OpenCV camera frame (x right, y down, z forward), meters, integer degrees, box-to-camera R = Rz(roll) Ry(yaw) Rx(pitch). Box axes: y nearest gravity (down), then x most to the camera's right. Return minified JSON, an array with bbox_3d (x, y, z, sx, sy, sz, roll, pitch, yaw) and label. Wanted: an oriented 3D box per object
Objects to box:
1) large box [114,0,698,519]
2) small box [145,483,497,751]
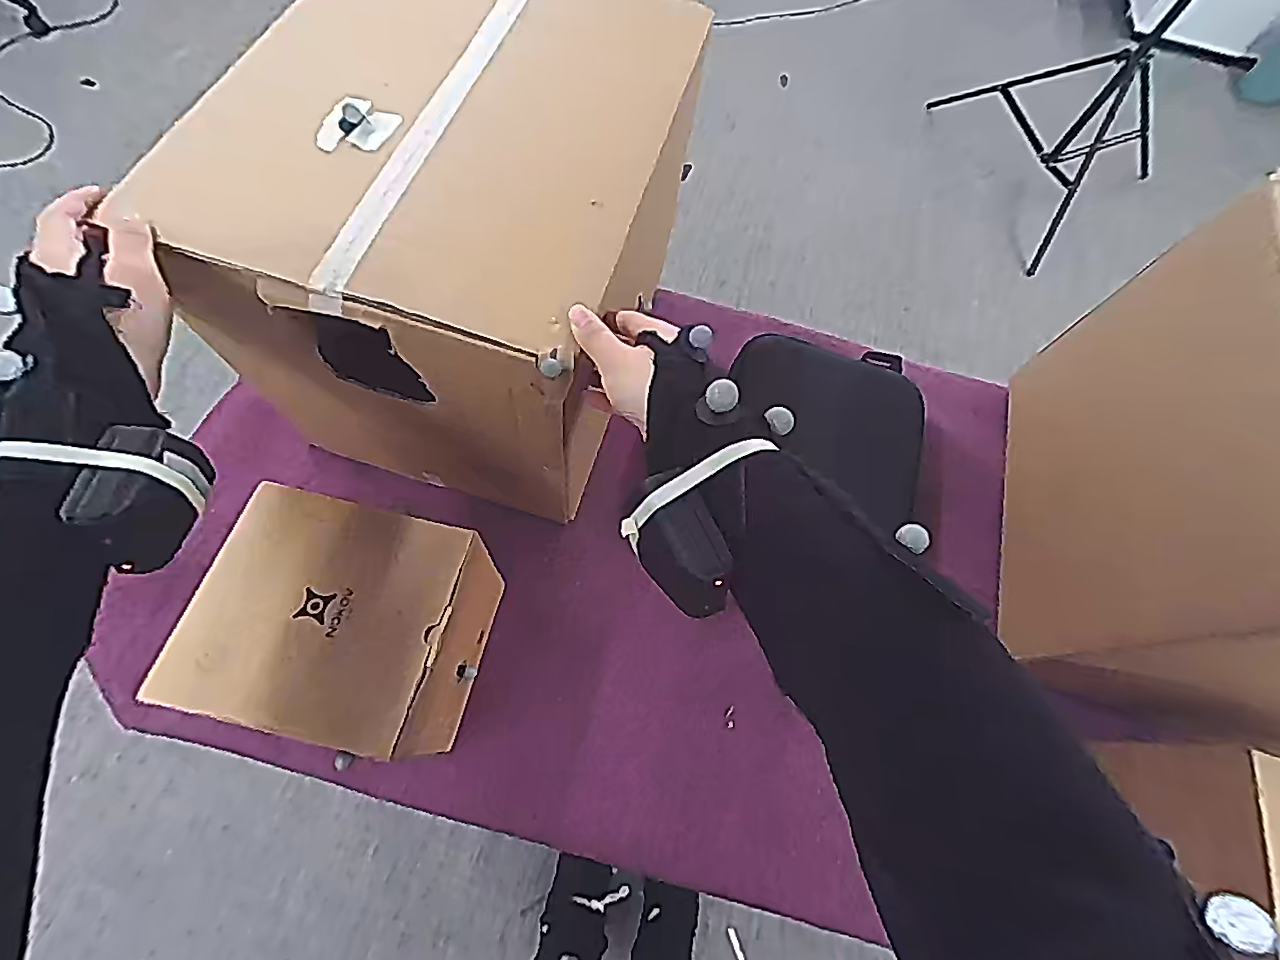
[{"bbox_3d":[-0.156,-0.222,0.552,0.320,0.320,0.408,16,68,0],"label":"large box"},{"bbox_3d":[-0.238,0.125,0.465,0.179,0.176,0.168,13,64,-1],"label":"small box"}]
